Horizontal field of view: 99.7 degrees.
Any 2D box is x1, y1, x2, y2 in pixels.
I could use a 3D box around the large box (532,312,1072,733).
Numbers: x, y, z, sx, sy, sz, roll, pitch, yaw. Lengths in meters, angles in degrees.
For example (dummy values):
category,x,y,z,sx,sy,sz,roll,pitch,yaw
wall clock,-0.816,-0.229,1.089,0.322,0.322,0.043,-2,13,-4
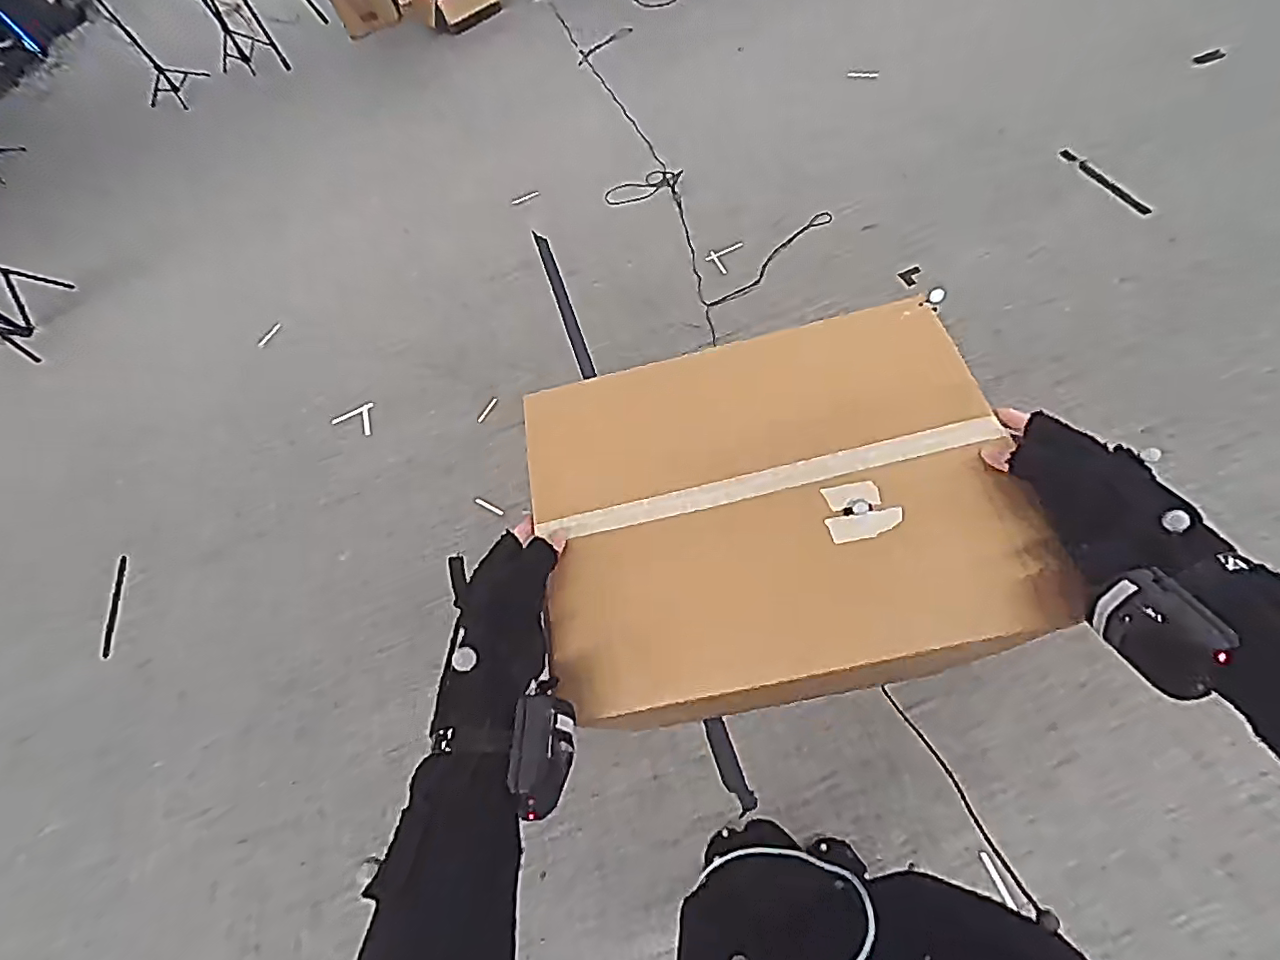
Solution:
category,x,y,z,sx,sy,sz,roll,pitch,yaw
large box,0.128,0.075,0.613,0.408,0.320,0.320,-13,63,3
